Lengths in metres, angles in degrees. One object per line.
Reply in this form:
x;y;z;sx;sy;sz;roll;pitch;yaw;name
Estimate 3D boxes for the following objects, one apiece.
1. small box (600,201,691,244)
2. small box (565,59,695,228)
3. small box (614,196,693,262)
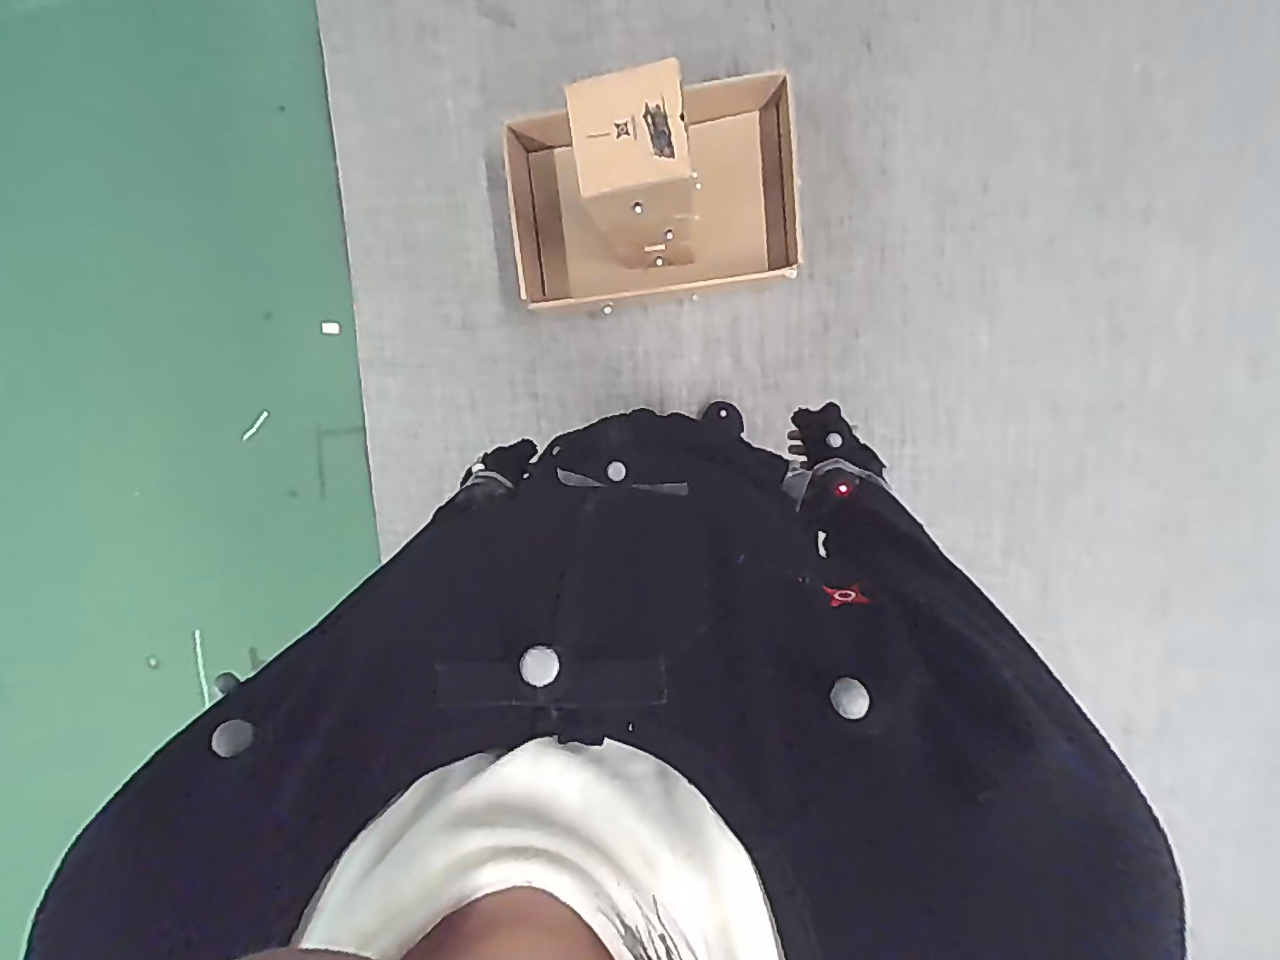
0.011;-0.575;1.056;0.168;0.176;0.179;-3;97;8;small box
-0.009;-0.542;0.897;0.179;0.176;0.168;-10;98;8;small box
0.033;-0.598;1.215;0.168;0.176;0.179;-2;99;8;small box
